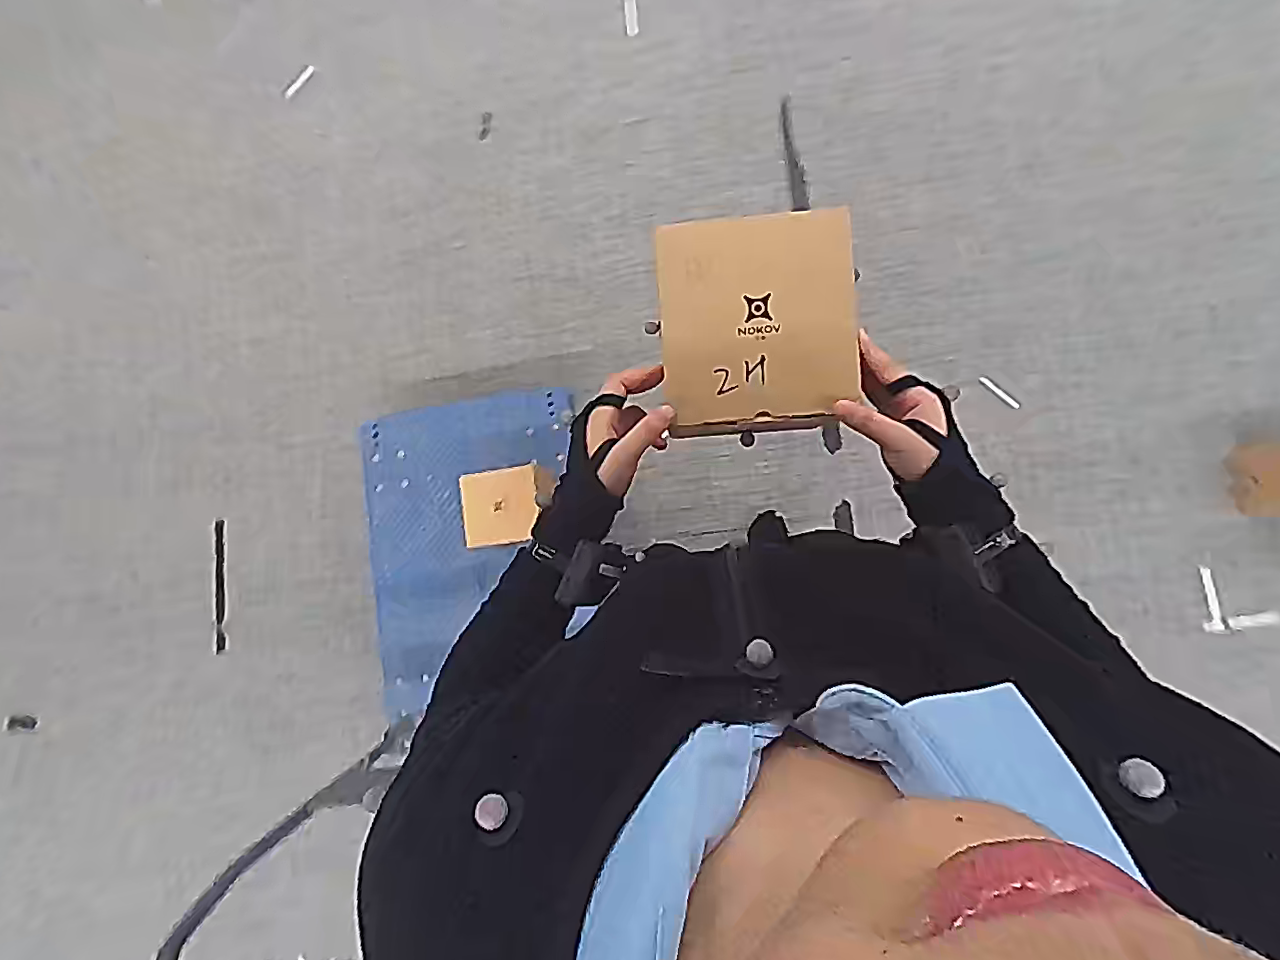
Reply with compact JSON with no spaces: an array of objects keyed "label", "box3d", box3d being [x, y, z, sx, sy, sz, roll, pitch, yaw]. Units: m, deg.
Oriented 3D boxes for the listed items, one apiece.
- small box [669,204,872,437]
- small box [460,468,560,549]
[{"label":"small box","box3d":[0.113,-0.138,0.530,0.168,0.176,0.179,-3,90,5]},{"label":"small box","box3d":[-0.303,0.072,1.287,0.179,0.176,0.168,-10,84,5]}]
